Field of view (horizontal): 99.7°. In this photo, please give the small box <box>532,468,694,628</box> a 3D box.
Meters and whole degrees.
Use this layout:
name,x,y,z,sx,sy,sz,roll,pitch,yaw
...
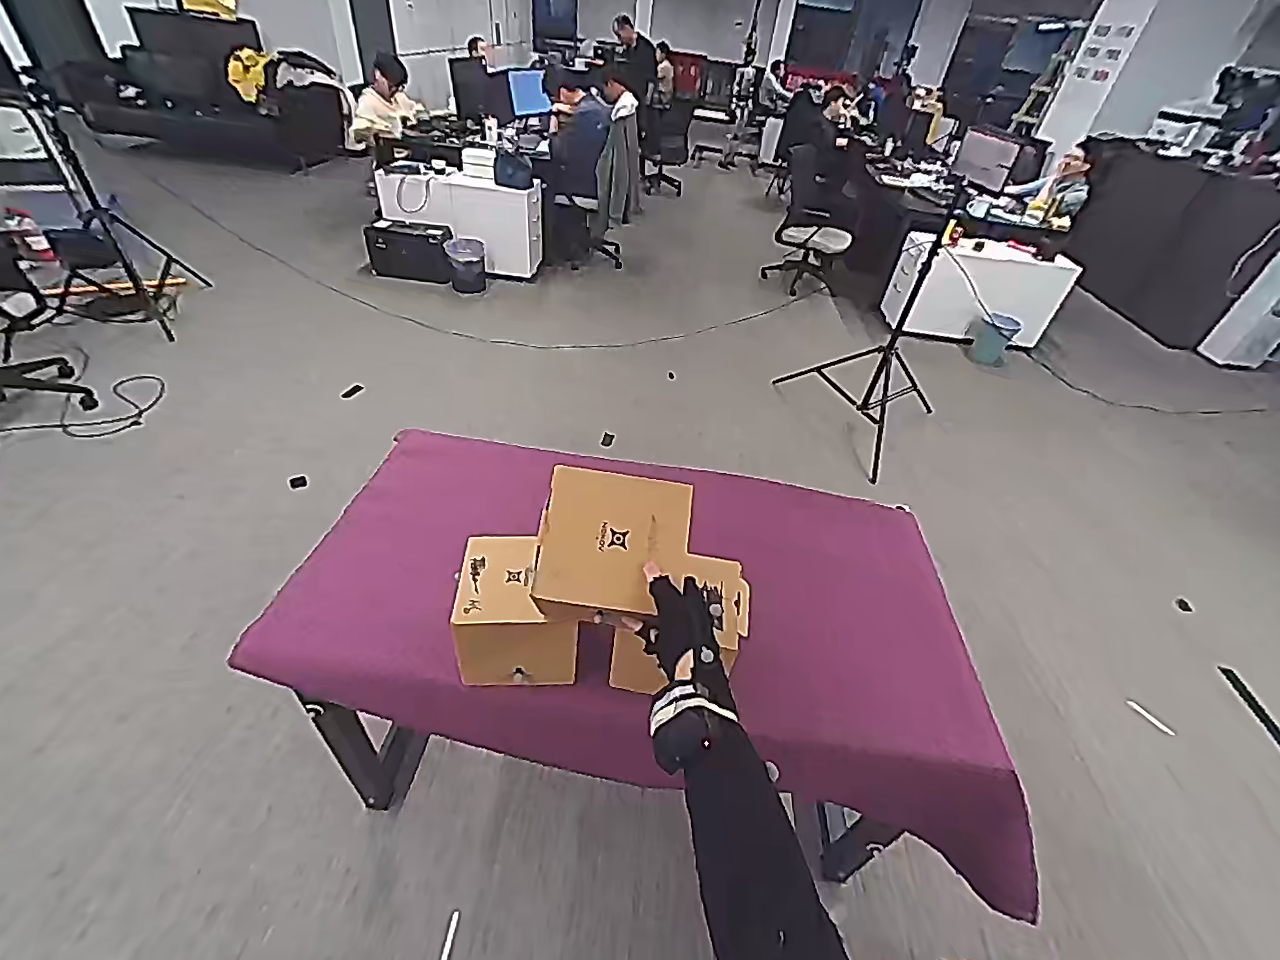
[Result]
name,x,y,z,sx,sy,sz,roll,pitch,yaw
small box,-0.035,0.099,0.718,0.179,0.176,0.168,9,69,-3

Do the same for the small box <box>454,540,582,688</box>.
name,x,y,z,sx,sy,sz,roll,pitch,yaw
small box,-0.185,0.214,0.862,0.179,0.176,0.168,2,39,-8

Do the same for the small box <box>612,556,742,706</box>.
name,x,y,z,sx,sy,sz,roll,pitch,yaw
small box,0.058,0.238,0.870,0.179,0.176,0.168,10,39,5
